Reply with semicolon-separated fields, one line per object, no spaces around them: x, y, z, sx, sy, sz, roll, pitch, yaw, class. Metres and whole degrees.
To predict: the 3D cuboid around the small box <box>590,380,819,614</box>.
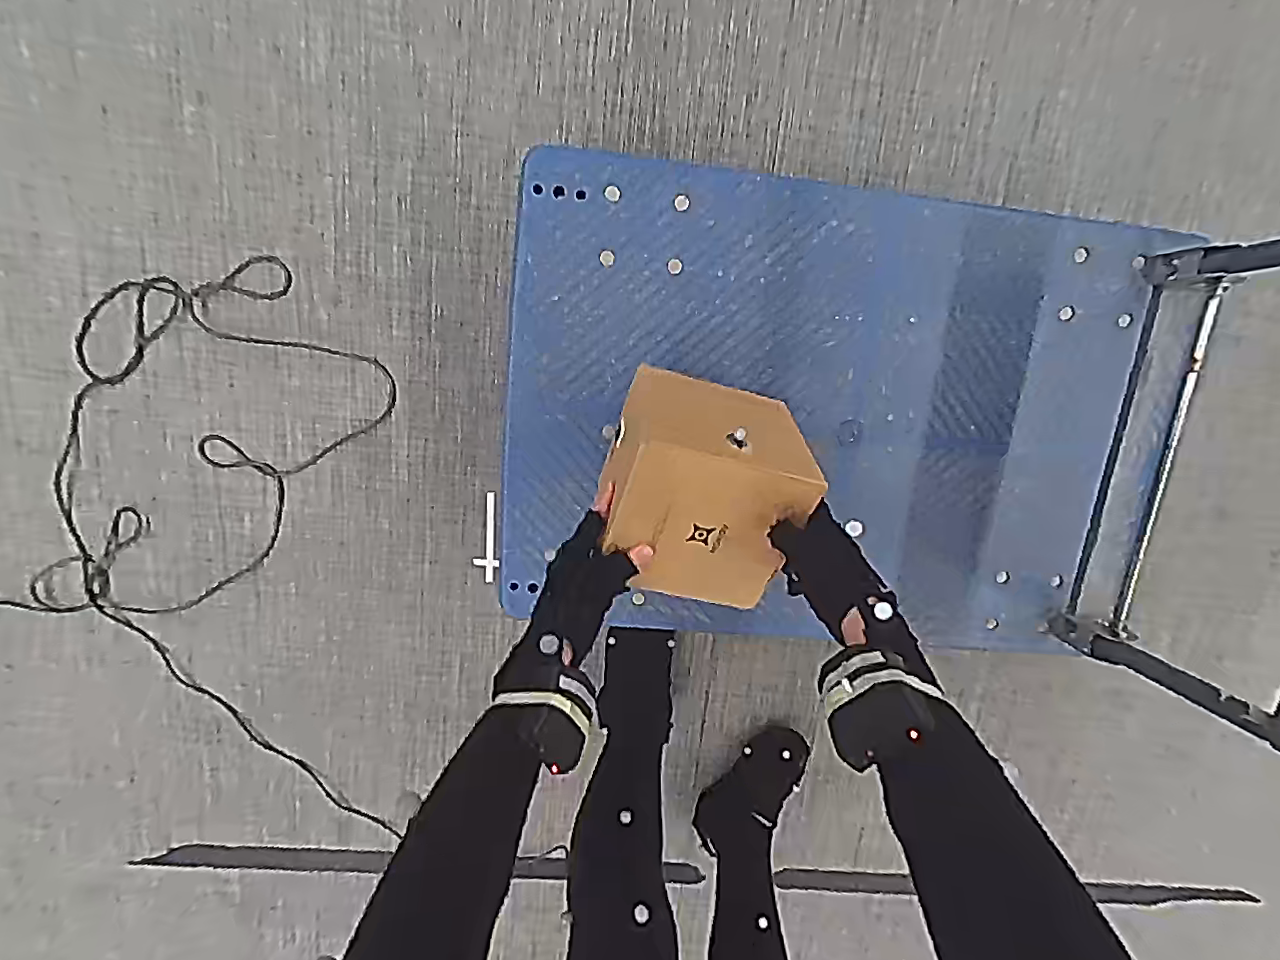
0.053;0.012;0.573;0.179;0.176;0.168;13;121;-10;small box
